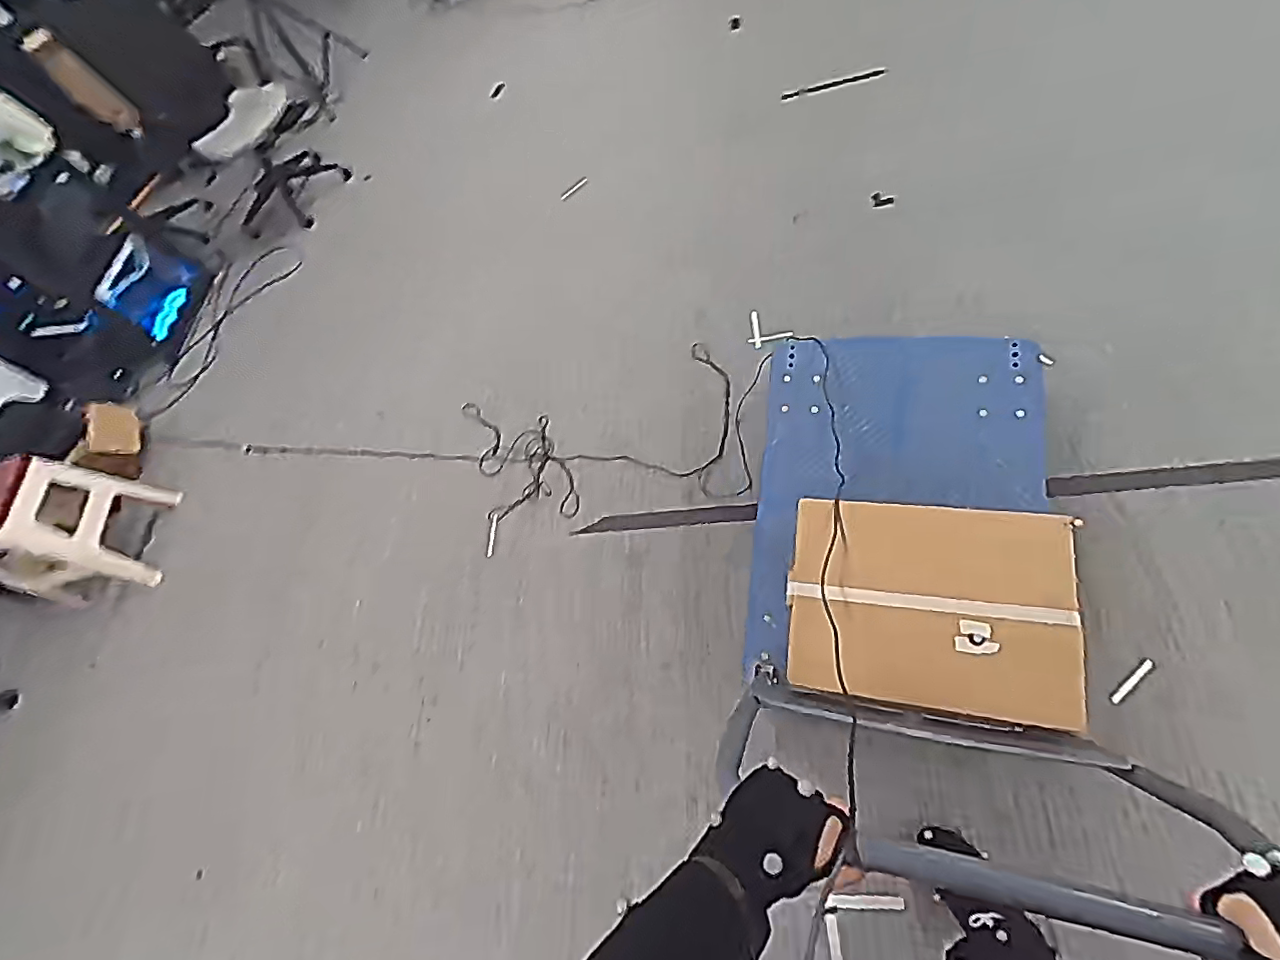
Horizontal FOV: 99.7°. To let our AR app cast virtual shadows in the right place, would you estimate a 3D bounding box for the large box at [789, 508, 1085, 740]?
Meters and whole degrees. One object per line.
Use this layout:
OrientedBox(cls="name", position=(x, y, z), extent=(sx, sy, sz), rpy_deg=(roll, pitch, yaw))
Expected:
OrientedBox(cls="large box", position=(0.483, 0.248, 0.978), extent=(0.408, 0.320, 0.320), rpy_deg=(4, 76, 17))
